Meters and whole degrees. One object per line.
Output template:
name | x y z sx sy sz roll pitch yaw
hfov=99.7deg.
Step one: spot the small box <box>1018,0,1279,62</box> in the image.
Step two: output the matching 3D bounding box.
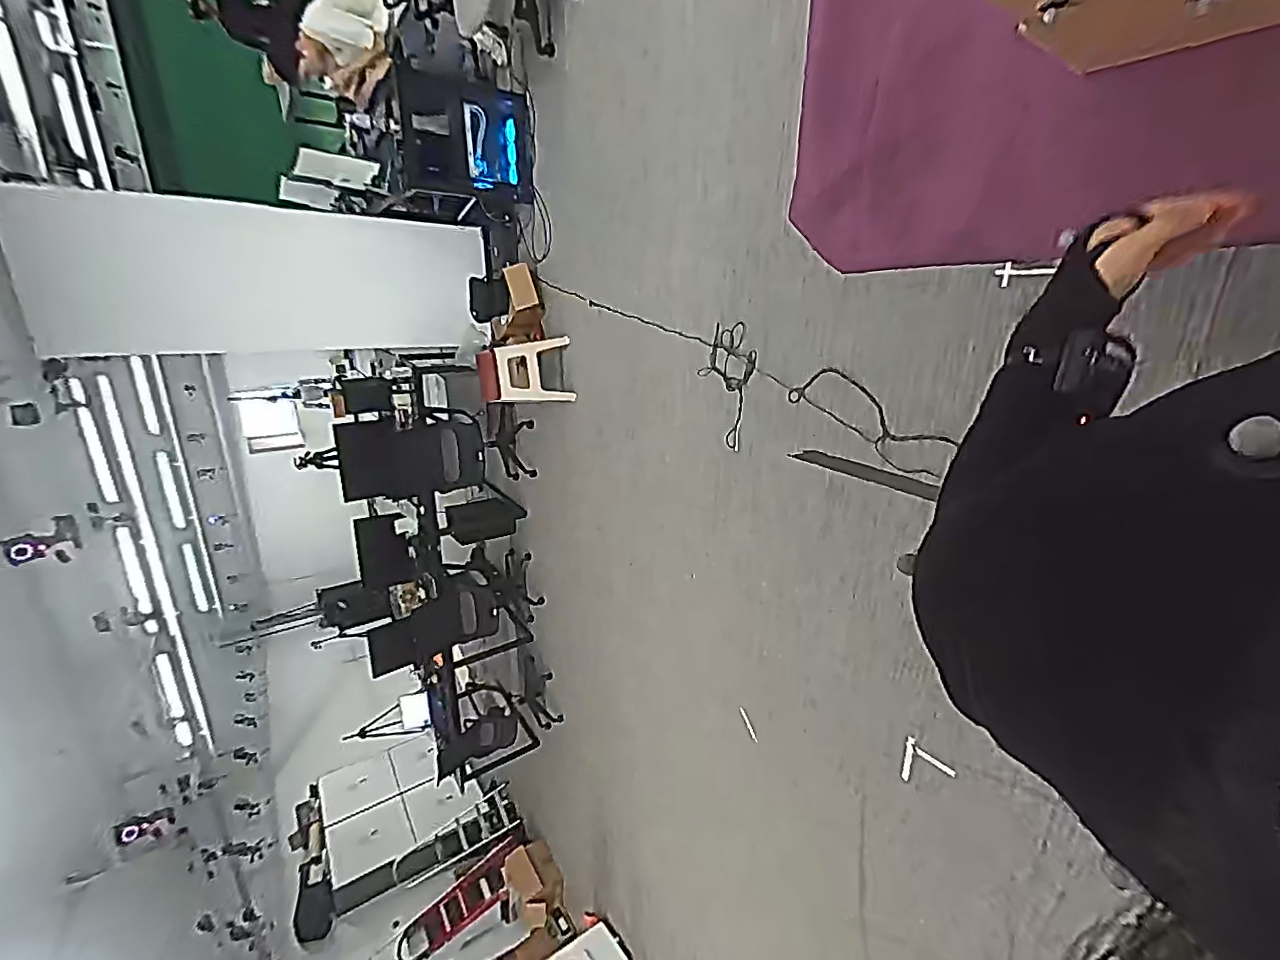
small box | 0.477 -0.500 0.467 0.179 0.176 0.168 26 121 51
